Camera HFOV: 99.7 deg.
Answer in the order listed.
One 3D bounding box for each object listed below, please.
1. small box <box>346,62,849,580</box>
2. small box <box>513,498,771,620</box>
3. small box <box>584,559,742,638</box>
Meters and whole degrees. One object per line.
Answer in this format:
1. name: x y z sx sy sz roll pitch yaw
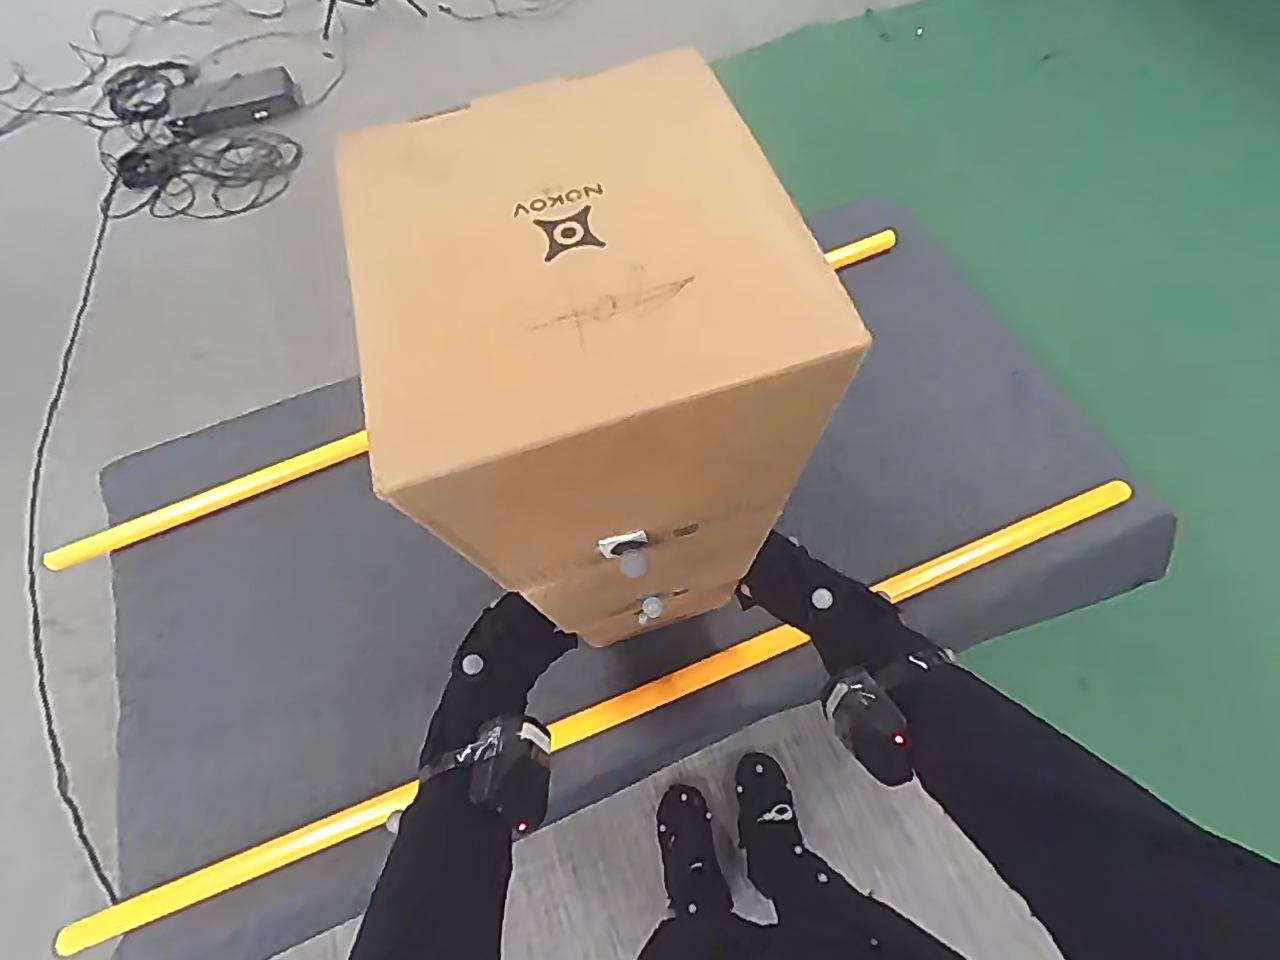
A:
1. small box: -0.024 -0.065 0.287 0.168 0.176 0.179 -18 69 -3
2. small box: -0.016 -0.004 0.435 0.168 0.176 0.179 -17 68 -4
3. small box: -0.005 0.056 0.590 0.168 0.176 0.179 -18 68 -4
